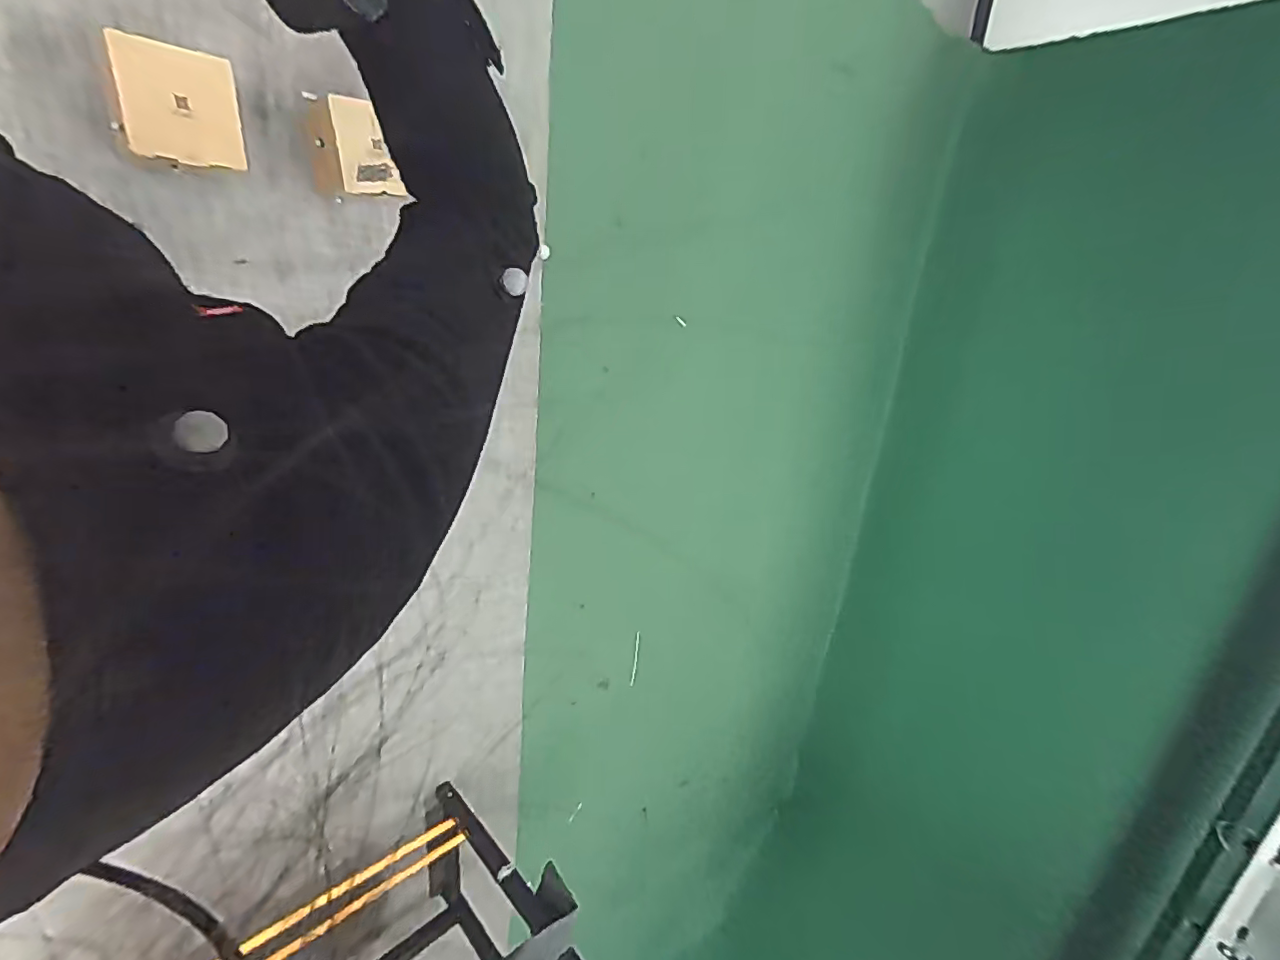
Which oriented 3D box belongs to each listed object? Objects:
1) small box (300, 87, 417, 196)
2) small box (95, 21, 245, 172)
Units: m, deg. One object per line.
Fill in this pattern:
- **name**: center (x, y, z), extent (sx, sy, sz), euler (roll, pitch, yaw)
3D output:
- **small box**: center (-0.617, -0.729, 1.186), extent (0.168, 0.176, 0.179), euler (-22, 122, -41)
- **small box**: center (-0.840, -0.668, 0.968), extent (0.168, 0.176, 0.179), euler (-16, 119, -42)
